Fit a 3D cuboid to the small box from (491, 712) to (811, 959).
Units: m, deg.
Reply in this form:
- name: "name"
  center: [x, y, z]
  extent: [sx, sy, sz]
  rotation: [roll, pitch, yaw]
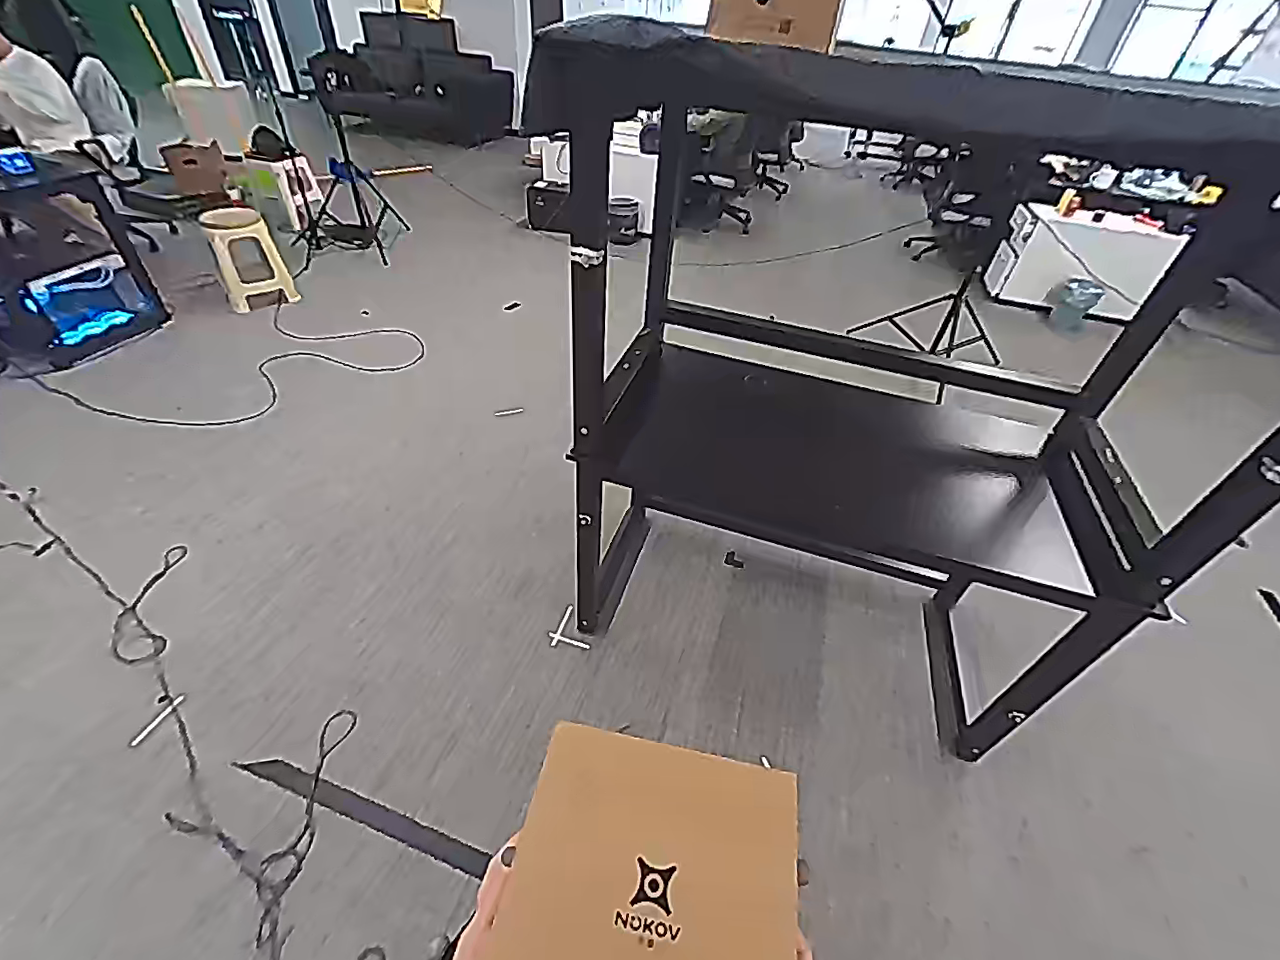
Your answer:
- name: "small box"
  center: [0.009, 0.288, 0.357]
  extent: [0.168, 0.176, 0.179]
  rotation: [9, 45, 8]

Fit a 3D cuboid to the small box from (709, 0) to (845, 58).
- name: "small box"
  center: [0.196, -0.681, 0.718]
  extent: [0.168, 0.176, 0.179]
  rotation: [15, 41, 9]
